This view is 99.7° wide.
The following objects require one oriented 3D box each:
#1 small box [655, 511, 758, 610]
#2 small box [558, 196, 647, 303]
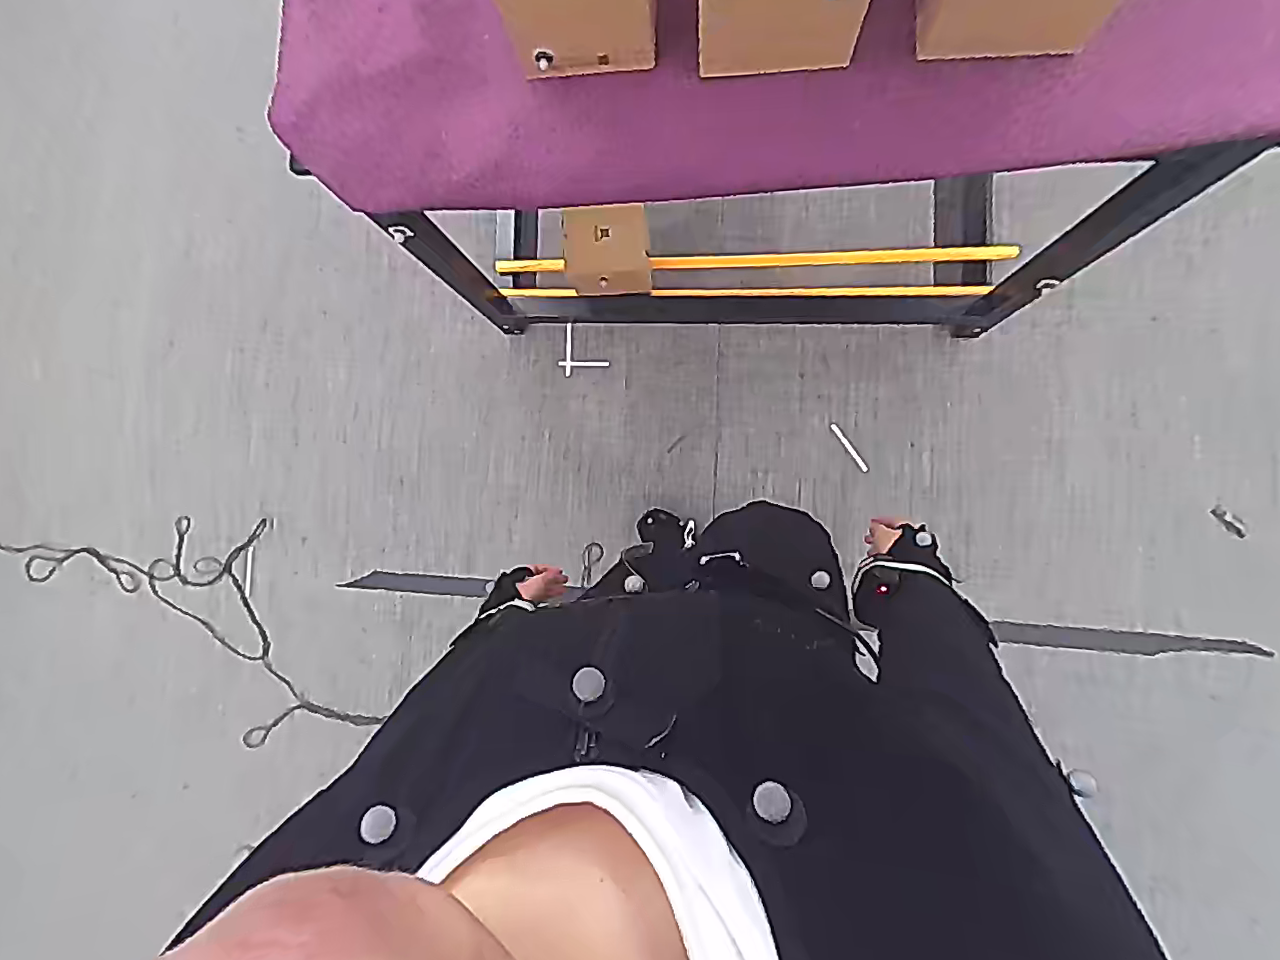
[{"bbox_3d":[0.152,0.183,1.248,0.179,0.176,0.168,-40,82,4],"label":"small box"},{"bbox_3d":[-0.077,-0.509,1.217,0.179,0.176,0.168,-3,89,7],"label":"small box"}]
